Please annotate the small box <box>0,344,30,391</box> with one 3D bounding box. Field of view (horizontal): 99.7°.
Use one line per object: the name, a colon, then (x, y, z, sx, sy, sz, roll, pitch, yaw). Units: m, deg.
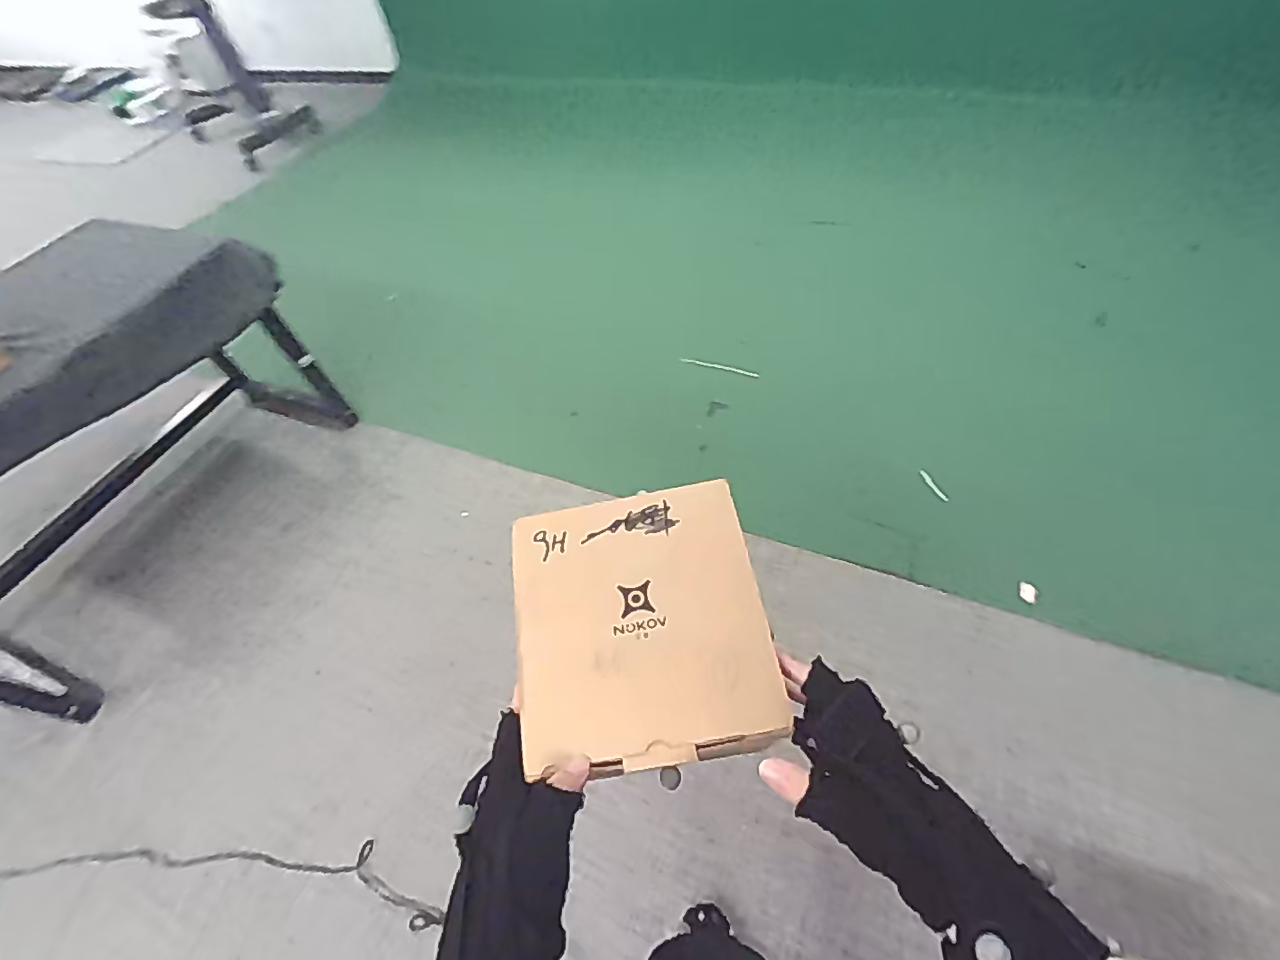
small box: (-1.536, -0.265, 1.186, 0.168, 0.176, 0.179, 17, 56, 19)
